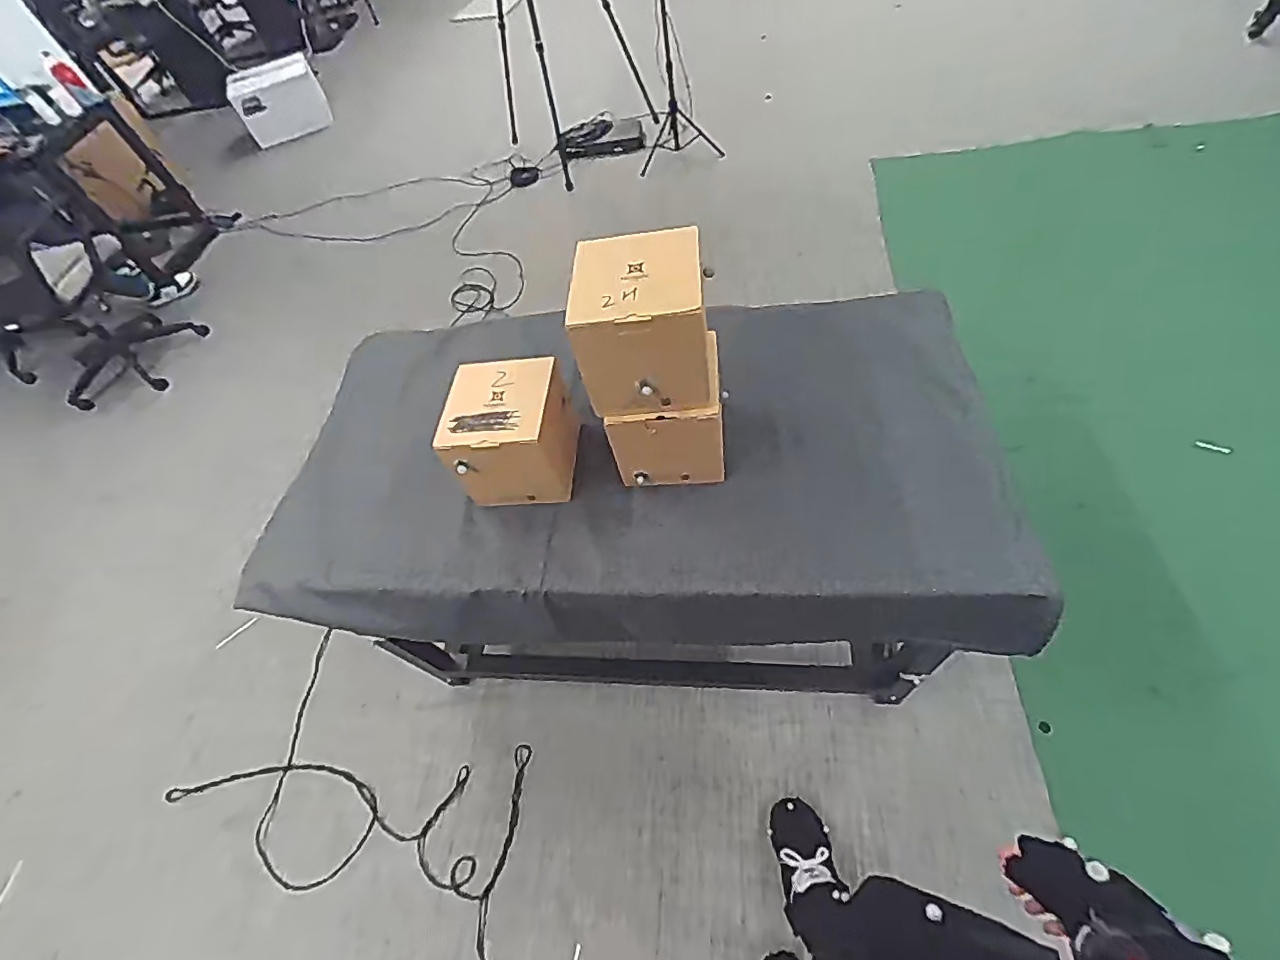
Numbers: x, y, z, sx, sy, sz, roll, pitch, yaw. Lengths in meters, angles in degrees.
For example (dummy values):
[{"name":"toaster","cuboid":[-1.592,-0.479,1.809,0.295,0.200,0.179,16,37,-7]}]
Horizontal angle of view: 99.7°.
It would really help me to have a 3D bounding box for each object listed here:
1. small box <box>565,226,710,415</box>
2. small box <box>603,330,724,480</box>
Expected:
[{"name":"small box","cuboid":[0.007,-0.212,0.739,0.168,0.176,0.179,-4,56,9]},{"name":"small box","cuboid":[0.046,-0.110,0.862,0.168,0.176,0.179,-3,55,10]}]
